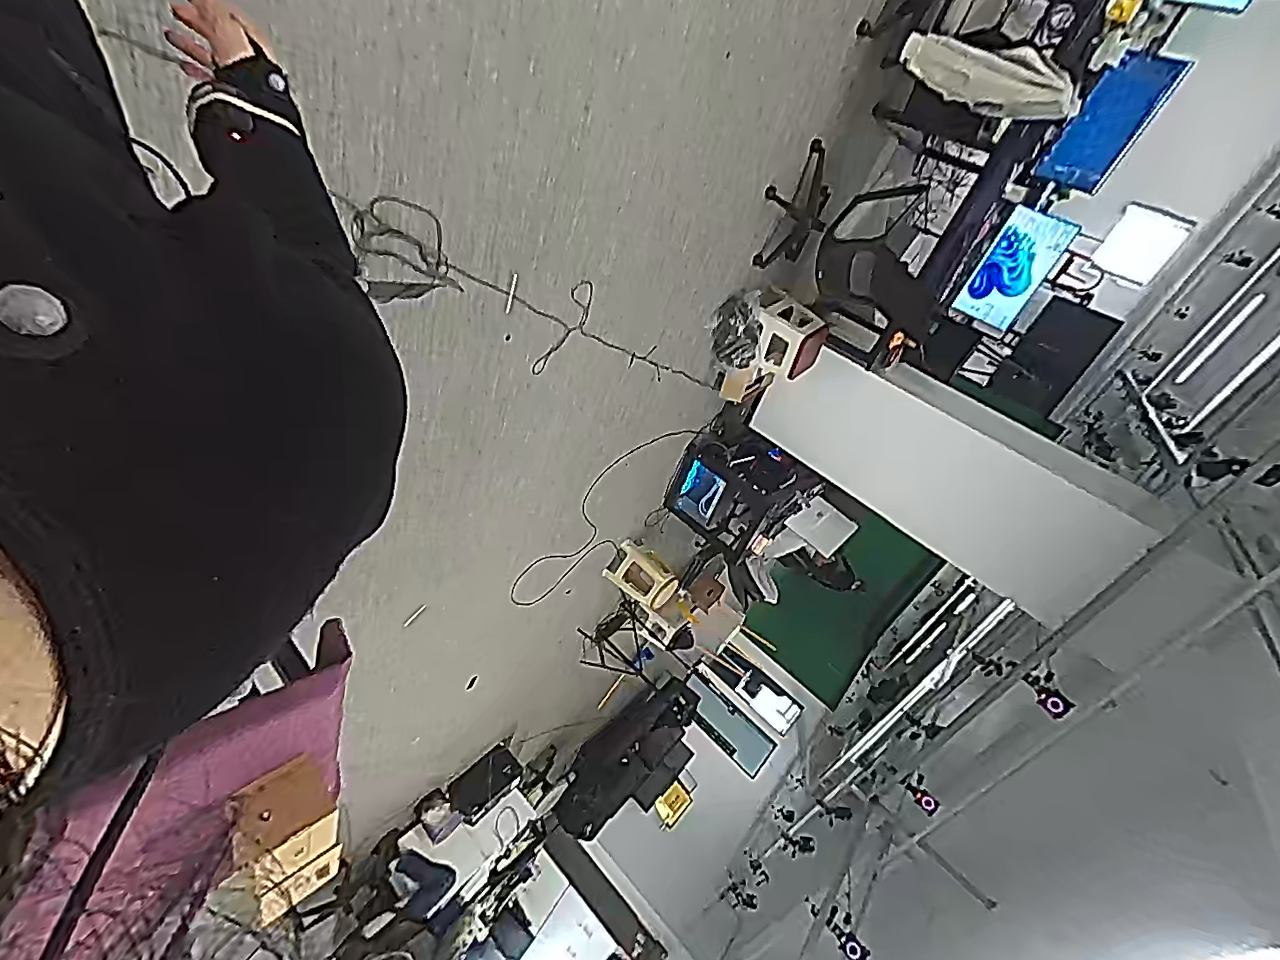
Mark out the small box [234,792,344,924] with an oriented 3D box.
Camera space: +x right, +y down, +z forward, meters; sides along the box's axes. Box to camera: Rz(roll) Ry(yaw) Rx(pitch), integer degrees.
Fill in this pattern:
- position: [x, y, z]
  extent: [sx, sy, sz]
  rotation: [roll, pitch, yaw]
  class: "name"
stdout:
- position: [-0.868, 0.923, 1.337]
  extent: [0.179, 0.176, 0.168]
  rotation: [-18, 138, -50]
  class: "small box"
